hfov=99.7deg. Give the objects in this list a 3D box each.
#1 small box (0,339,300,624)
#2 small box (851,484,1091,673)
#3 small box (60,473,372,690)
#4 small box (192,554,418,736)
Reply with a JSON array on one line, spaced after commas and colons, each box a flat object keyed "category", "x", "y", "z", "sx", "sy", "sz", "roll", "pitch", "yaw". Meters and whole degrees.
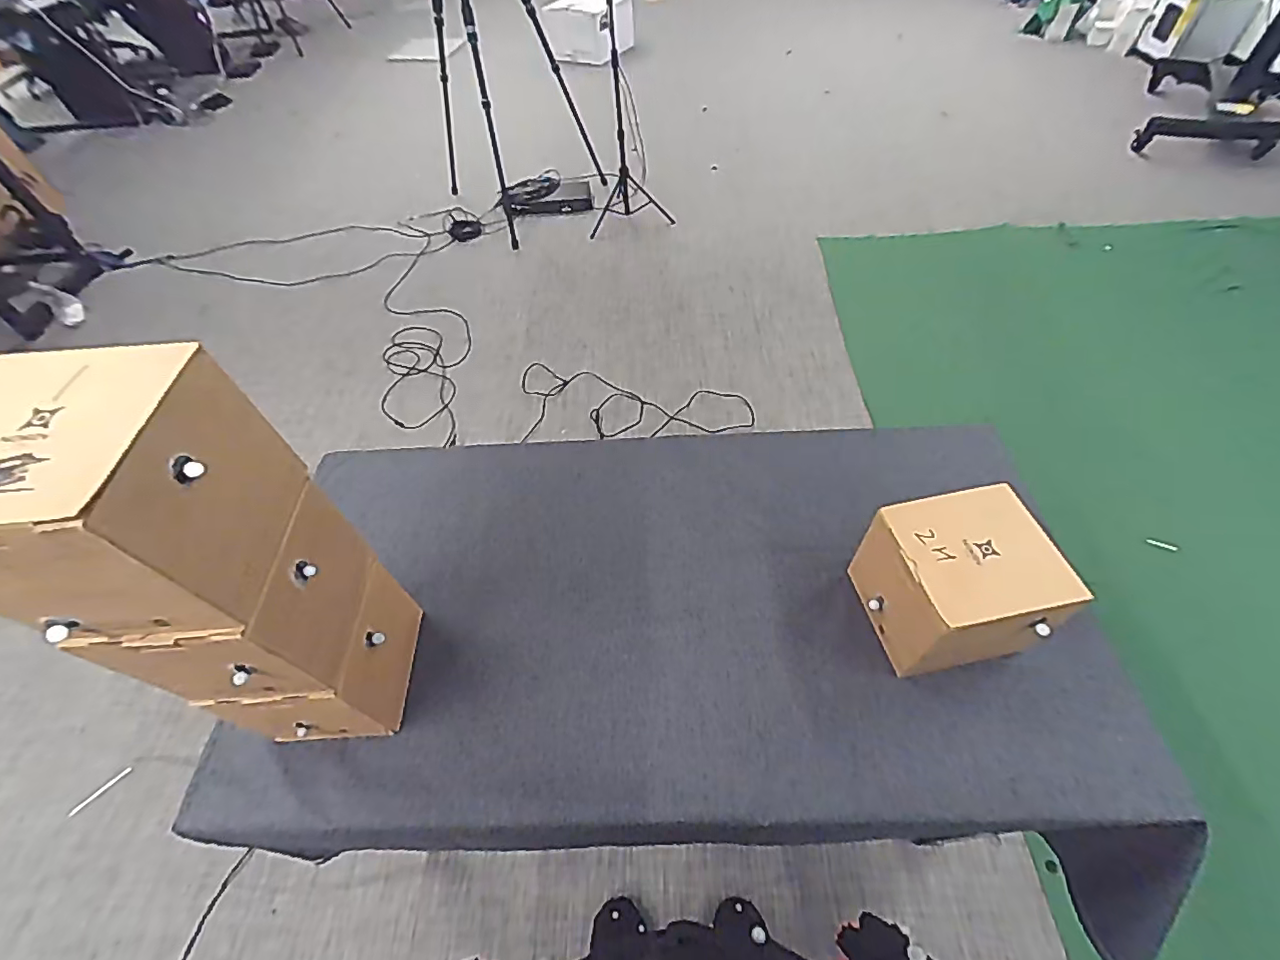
[{"category": "small box", "x": -0.423, "y": 0.009, "z": 0.447, "sx": 0.168, "sy": 0.176, "sz": 0.179, "roll": -4, "pitch": 53, "yaw": -1}, {"category": "small box", "x": 0.404, "y": 0.131, "z": 0.699, "sx": 0.179, "sy": 0.176, "sz": 0.168, "roll": -11, "pitch": 52, "yaw": -3}, {"category": "small box", "x": -0.414, "y": 0.114, "z": 0.573, "sx": 0.168, "sy": 0.176, "sz": 0.179, "roll": -3, "pitch": 53, "yaw": 1}, {"category": "small box", "x": -0.408, "y": 0.216, "z": 0.700, "sx": 0.168, "sy": 0.176, "sz": 0.179, "roll": -4, "pitch": 53, "yaw": 1}]
